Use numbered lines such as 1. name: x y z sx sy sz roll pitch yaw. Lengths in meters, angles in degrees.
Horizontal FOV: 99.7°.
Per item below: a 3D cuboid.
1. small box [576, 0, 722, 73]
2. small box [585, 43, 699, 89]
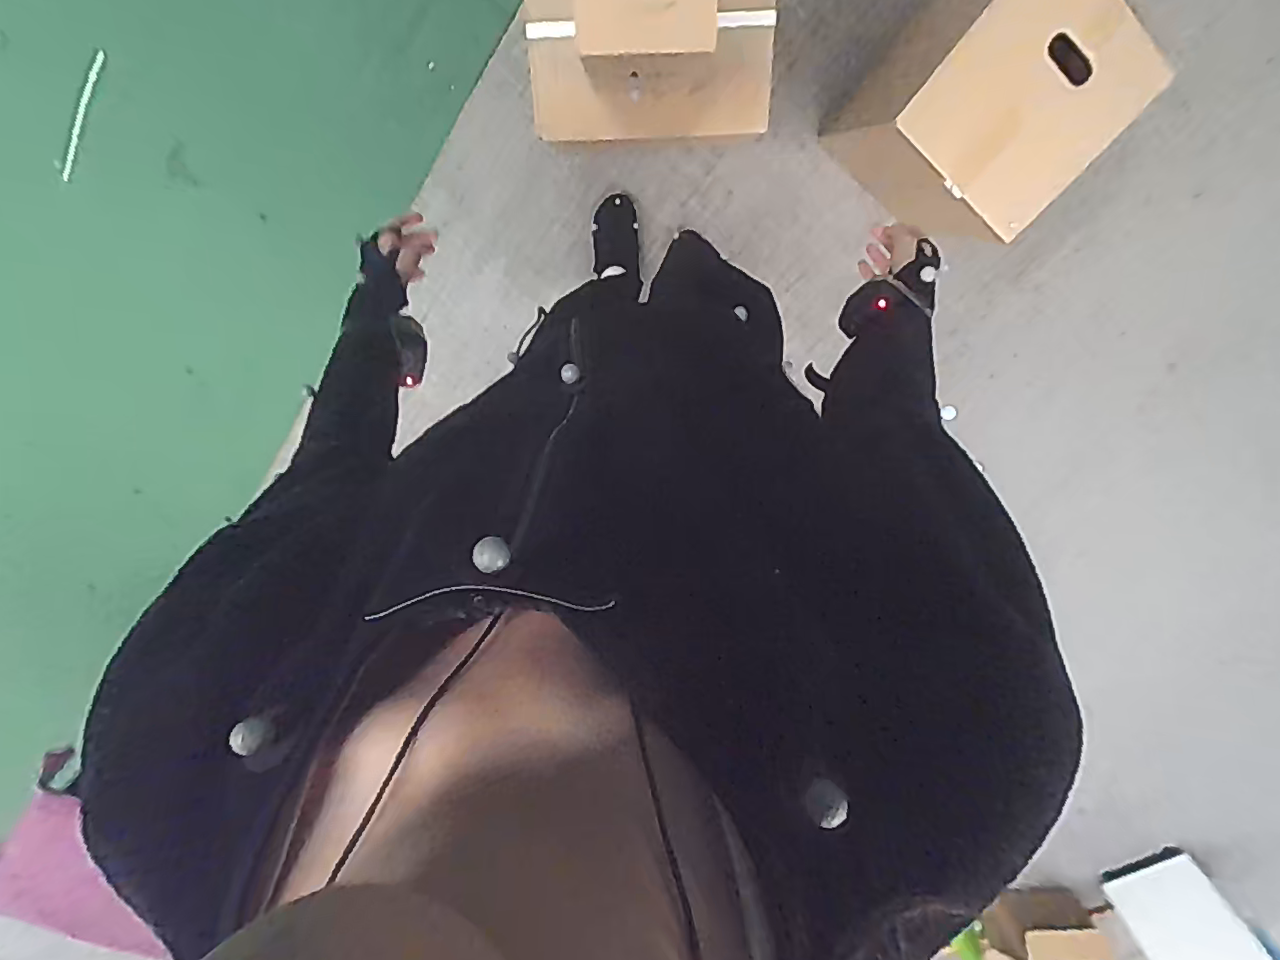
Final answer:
1. small box: 0.011 -0.616 0.653 0.168 0.176 0.179 0 118 1
2. small box: 0.007 -0.699 0.794 0.168 0.176 0.179 2 119 -1
